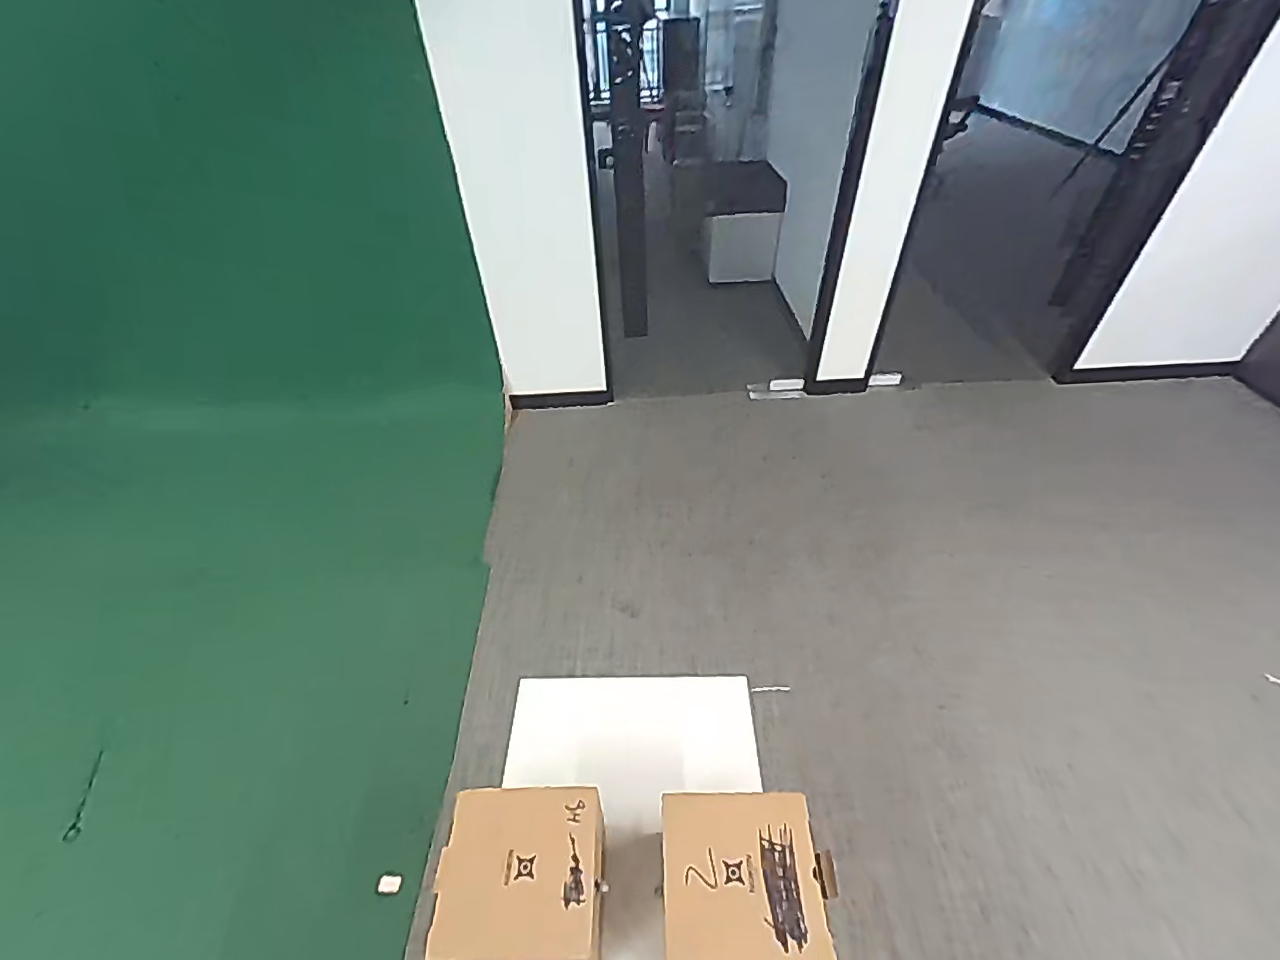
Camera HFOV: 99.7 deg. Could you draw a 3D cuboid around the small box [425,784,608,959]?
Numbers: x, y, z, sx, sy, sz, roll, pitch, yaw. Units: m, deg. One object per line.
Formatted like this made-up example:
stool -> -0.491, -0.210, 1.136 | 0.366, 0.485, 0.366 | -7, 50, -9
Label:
small box -> -0.136, 0.495, 0.671 | 0.179, 0.176, 0.168 | -1, 44, 0
